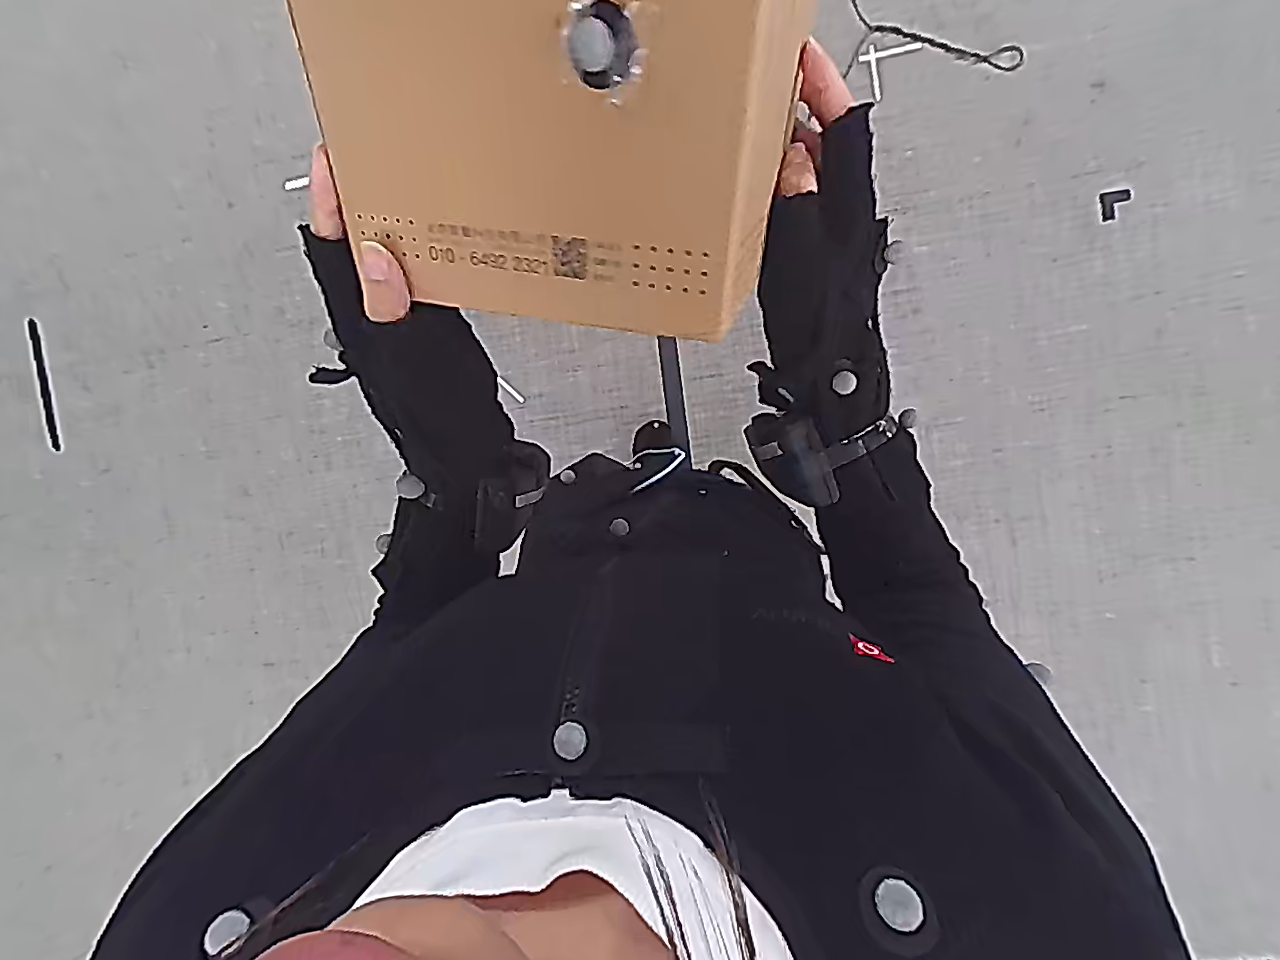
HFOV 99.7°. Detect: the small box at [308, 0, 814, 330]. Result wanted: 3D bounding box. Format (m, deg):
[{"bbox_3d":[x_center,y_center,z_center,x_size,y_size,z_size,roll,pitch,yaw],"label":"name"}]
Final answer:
[{"bbox_3d":[-0.017,-0.181,0.248,0.168,0.179,0.176,14,127,16],"label":"small box"}]
